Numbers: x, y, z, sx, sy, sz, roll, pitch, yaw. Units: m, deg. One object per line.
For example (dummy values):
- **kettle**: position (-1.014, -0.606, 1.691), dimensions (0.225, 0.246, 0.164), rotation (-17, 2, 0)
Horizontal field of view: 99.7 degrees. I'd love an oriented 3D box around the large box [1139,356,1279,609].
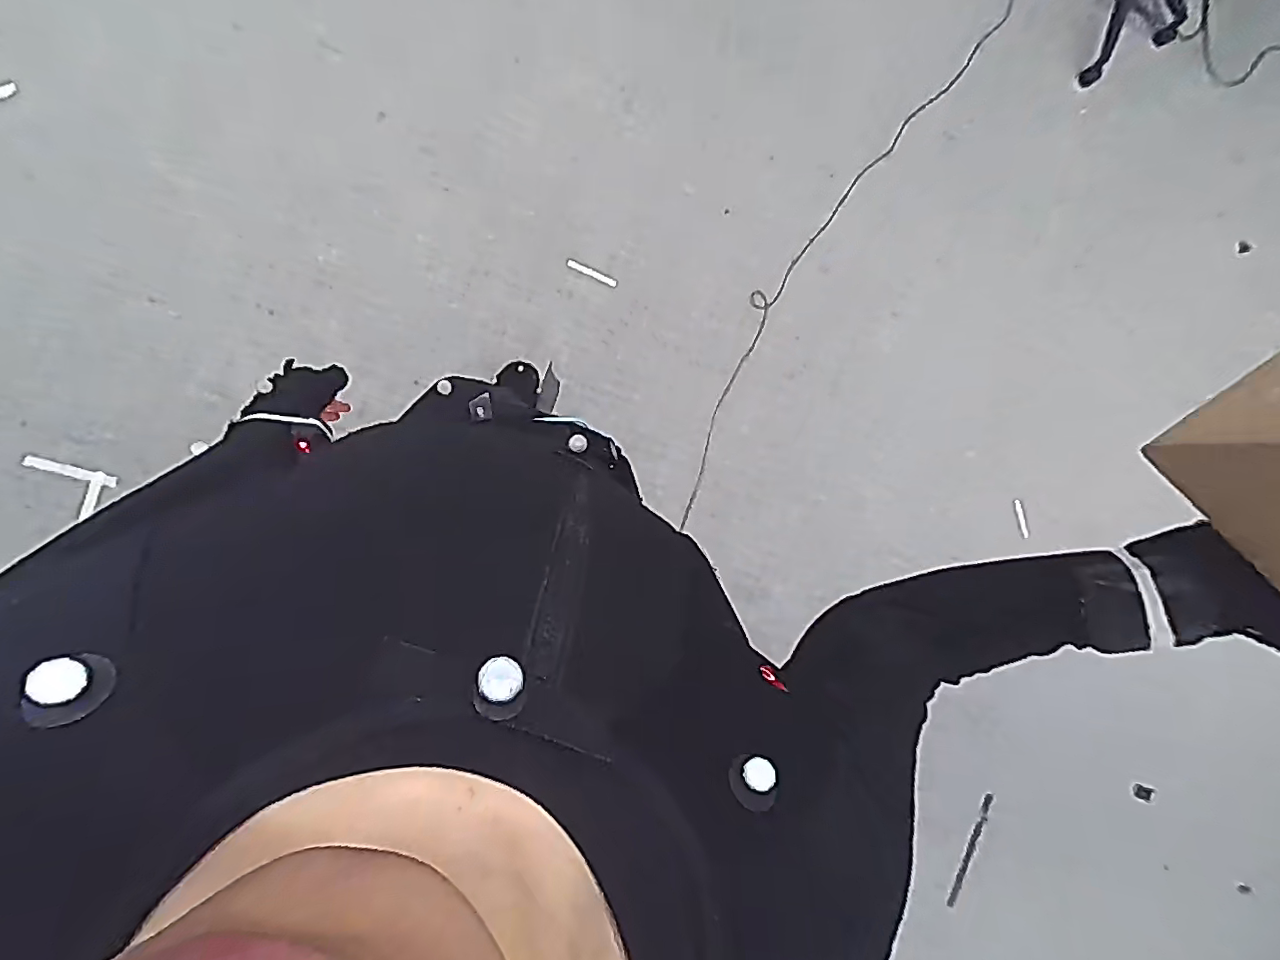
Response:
- **large box**: position (0.475, 0.014, 0.118), dimensions (0.320, 0.408, 0.320), rotation (-40, 82, 18)
